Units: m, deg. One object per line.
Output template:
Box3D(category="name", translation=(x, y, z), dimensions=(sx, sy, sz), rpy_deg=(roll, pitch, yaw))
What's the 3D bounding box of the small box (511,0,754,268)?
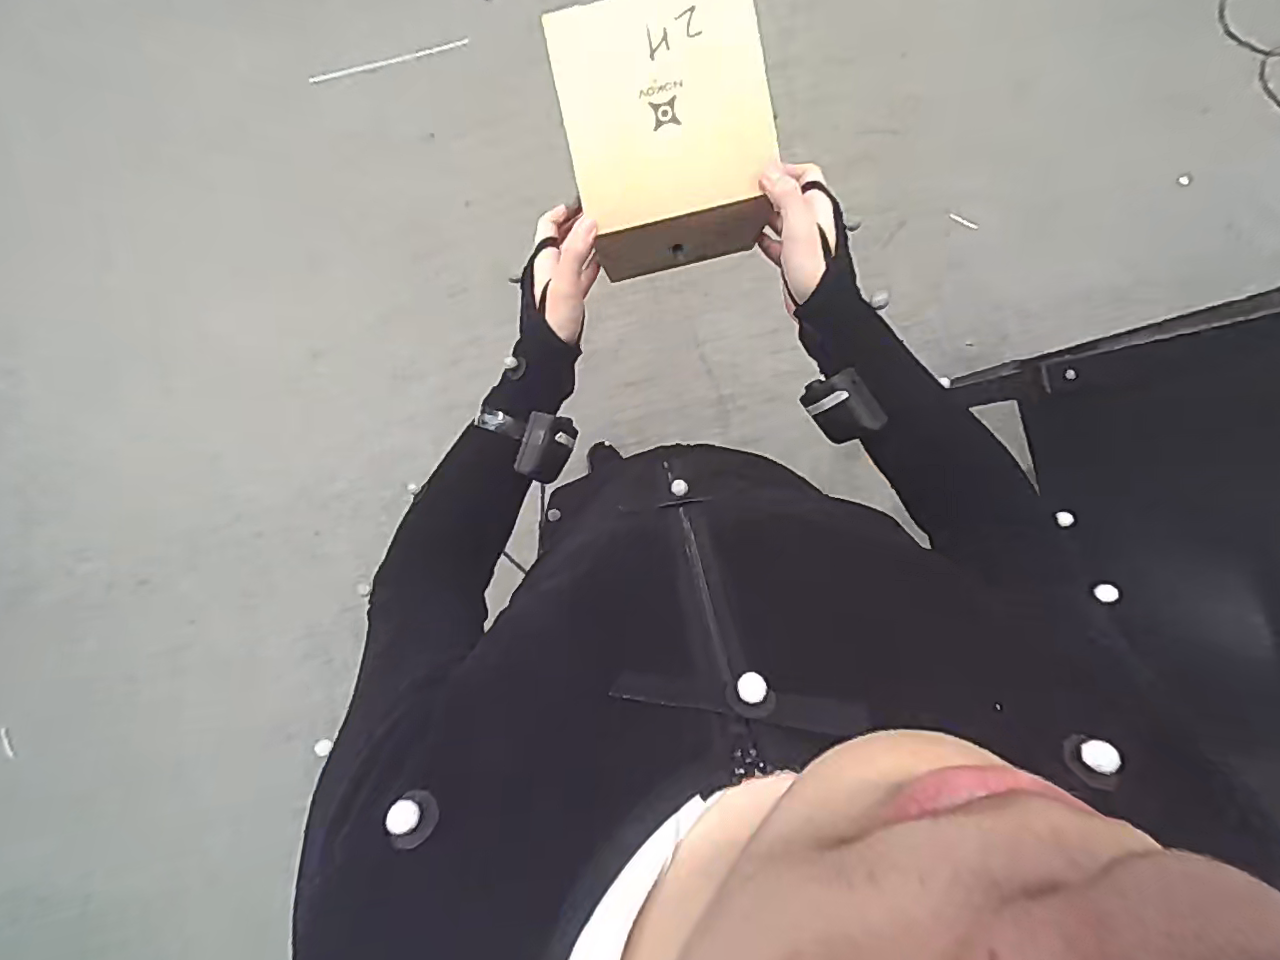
Box3D(category="small box", translation=(0.000, -0.306, 0.493), dimensions=(0.168, 0.176, 0.179), rpy_deg=(-10, 98, 3))
